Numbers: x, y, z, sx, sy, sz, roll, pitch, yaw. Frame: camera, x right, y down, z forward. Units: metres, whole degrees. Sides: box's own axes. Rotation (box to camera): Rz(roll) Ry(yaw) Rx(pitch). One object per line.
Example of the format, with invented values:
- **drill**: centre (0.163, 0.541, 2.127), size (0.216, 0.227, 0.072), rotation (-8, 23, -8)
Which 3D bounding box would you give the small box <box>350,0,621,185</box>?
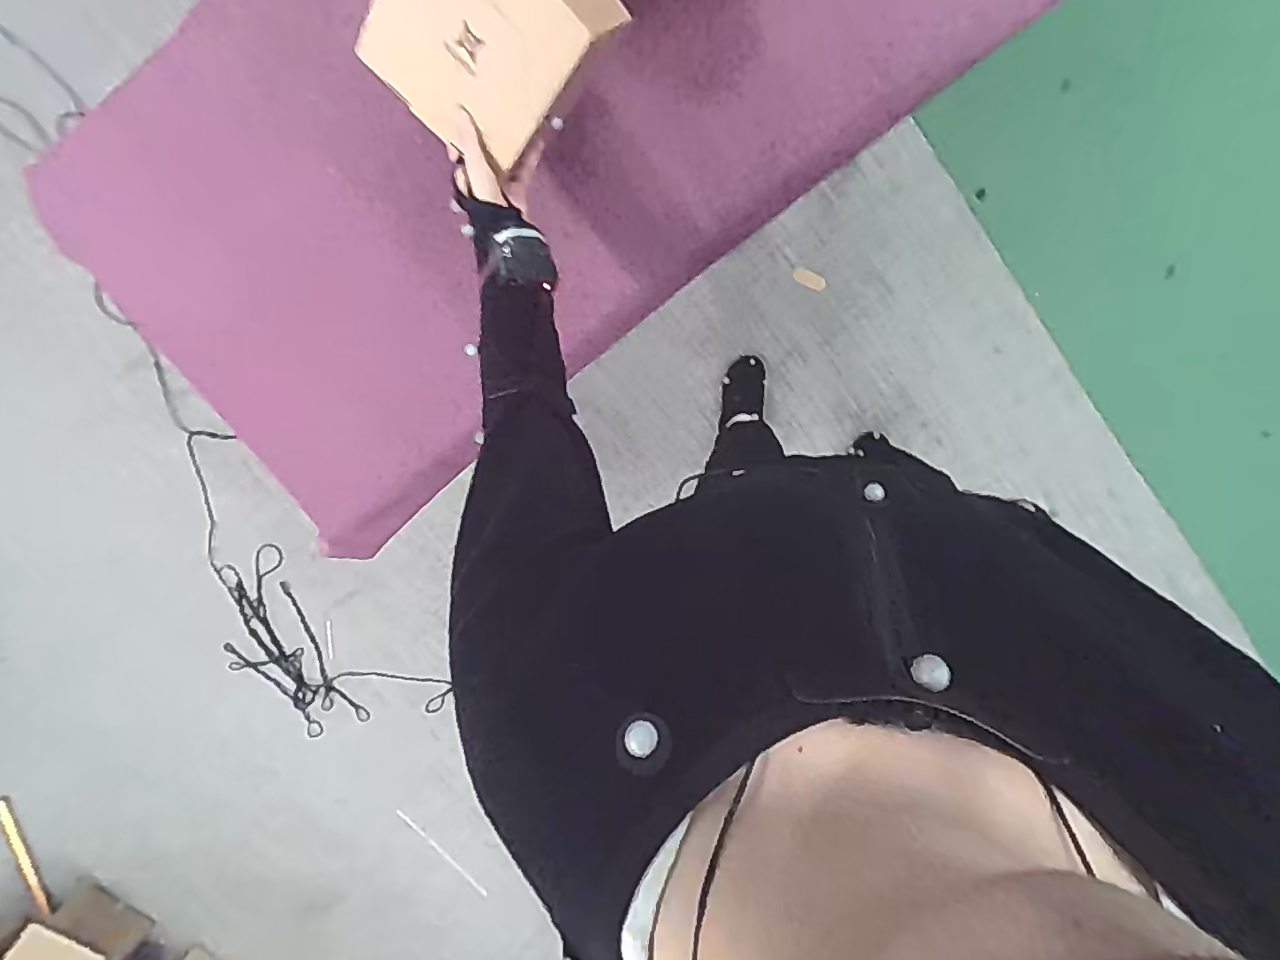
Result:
- **small box**: centre (-0.142, -0.445, 0.538), size (0.168, 0.176, 0.179), rotation (39, 134, -23)
